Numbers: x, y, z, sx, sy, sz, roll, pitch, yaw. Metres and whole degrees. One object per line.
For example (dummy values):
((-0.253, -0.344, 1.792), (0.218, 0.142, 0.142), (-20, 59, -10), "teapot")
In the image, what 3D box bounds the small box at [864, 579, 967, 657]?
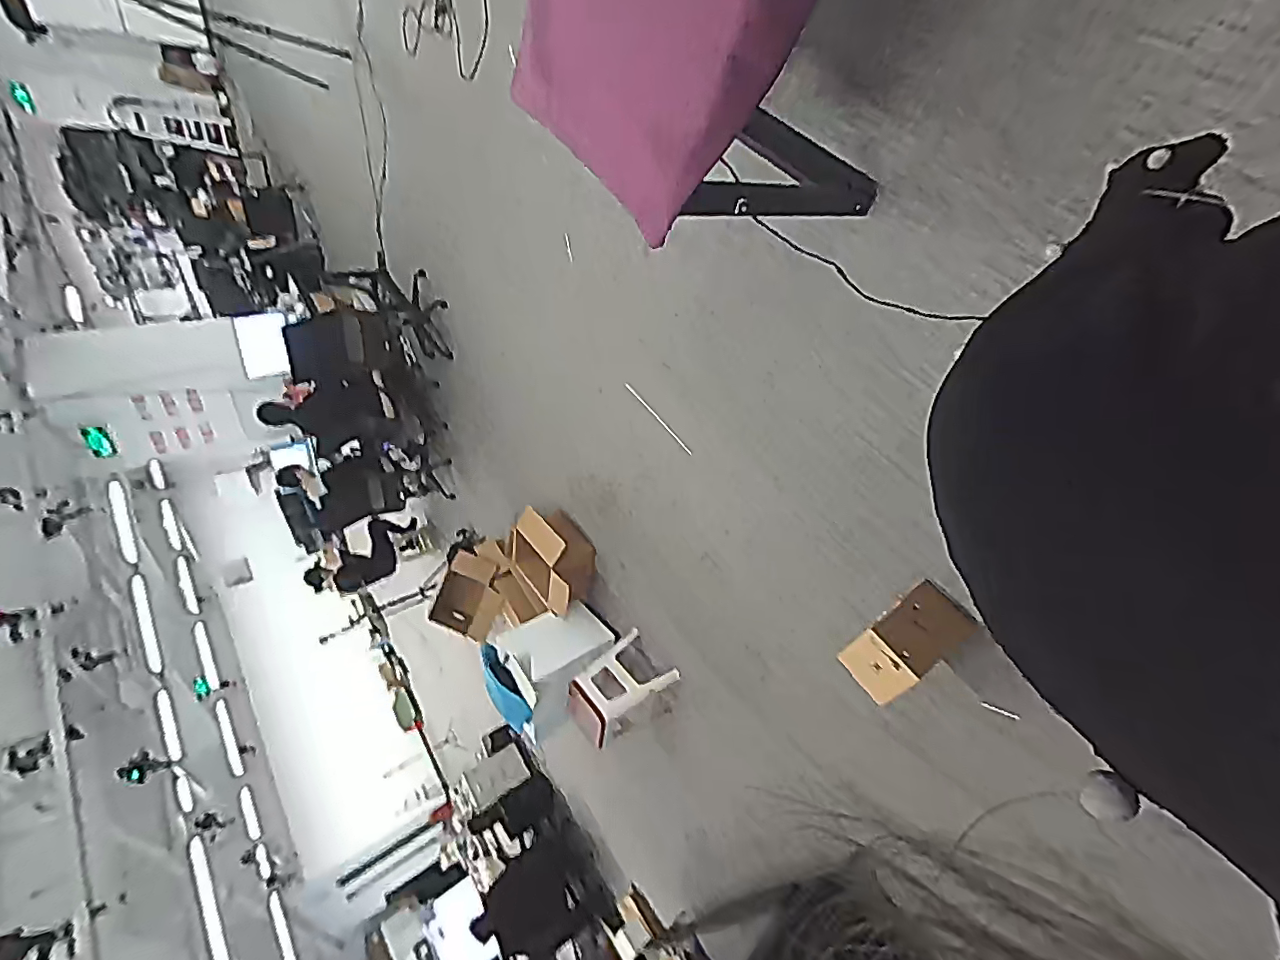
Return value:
((0.808, 0.424, 1.584), (0.179, 0.176, 0.168), (51, 140, 25), "small box")

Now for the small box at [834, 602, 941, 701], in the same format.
((0.682, 0.468, 1.489), (0.168, 0.176, 0.179), (51, 141, 25), "small box")
